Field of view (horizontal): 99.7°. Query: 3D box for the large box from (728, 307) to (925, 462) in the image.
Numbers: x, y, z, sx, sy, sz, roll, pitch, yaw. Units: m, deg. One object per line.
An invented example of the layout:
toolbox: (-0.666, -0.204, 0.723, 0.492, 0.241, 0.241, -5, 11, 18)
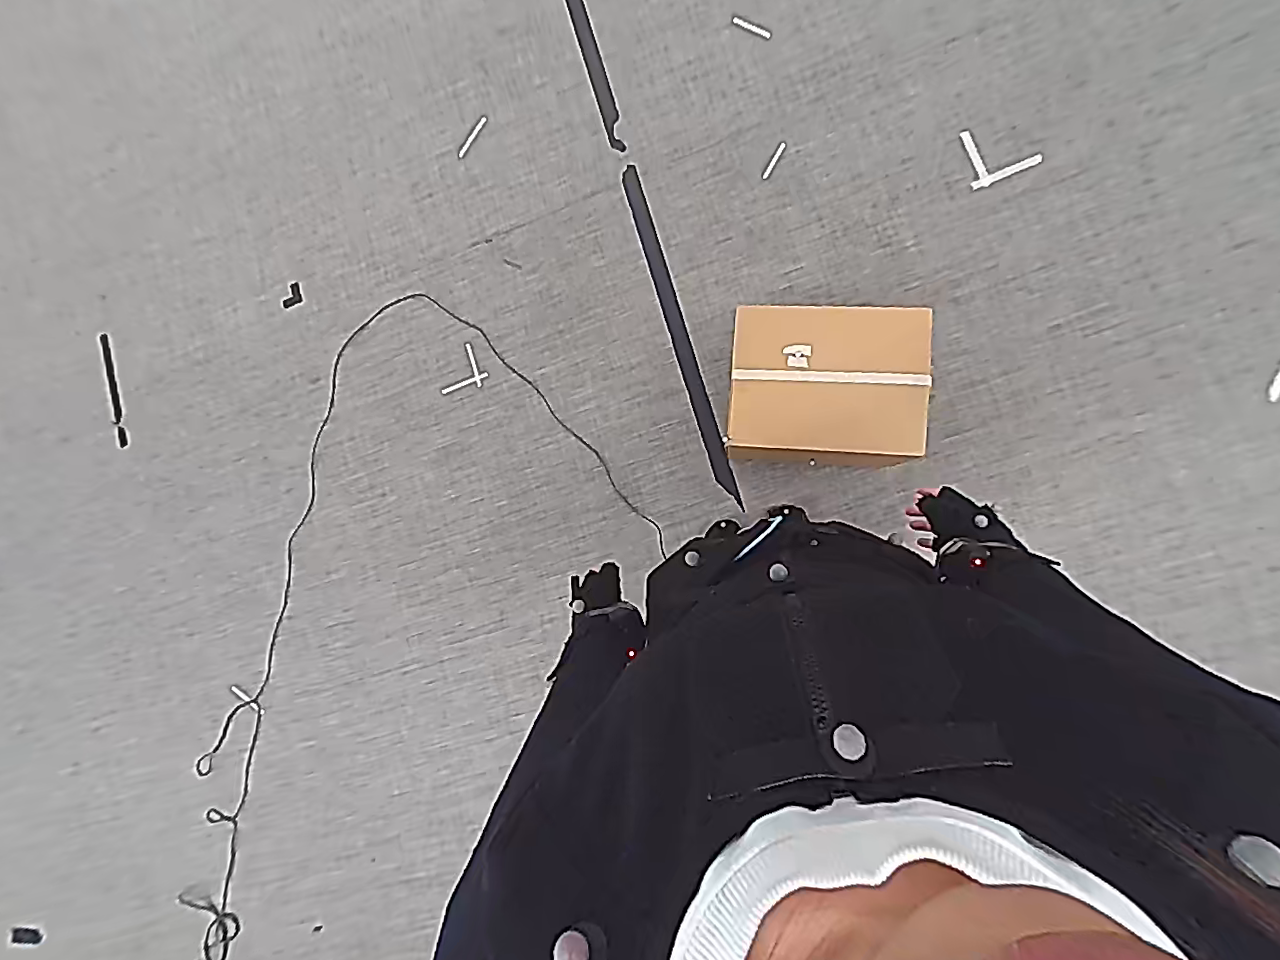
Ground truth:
large box: (0.428, -0.211, 1.310, 0.408, 0.320, 0.320, 3, 87, 11)
